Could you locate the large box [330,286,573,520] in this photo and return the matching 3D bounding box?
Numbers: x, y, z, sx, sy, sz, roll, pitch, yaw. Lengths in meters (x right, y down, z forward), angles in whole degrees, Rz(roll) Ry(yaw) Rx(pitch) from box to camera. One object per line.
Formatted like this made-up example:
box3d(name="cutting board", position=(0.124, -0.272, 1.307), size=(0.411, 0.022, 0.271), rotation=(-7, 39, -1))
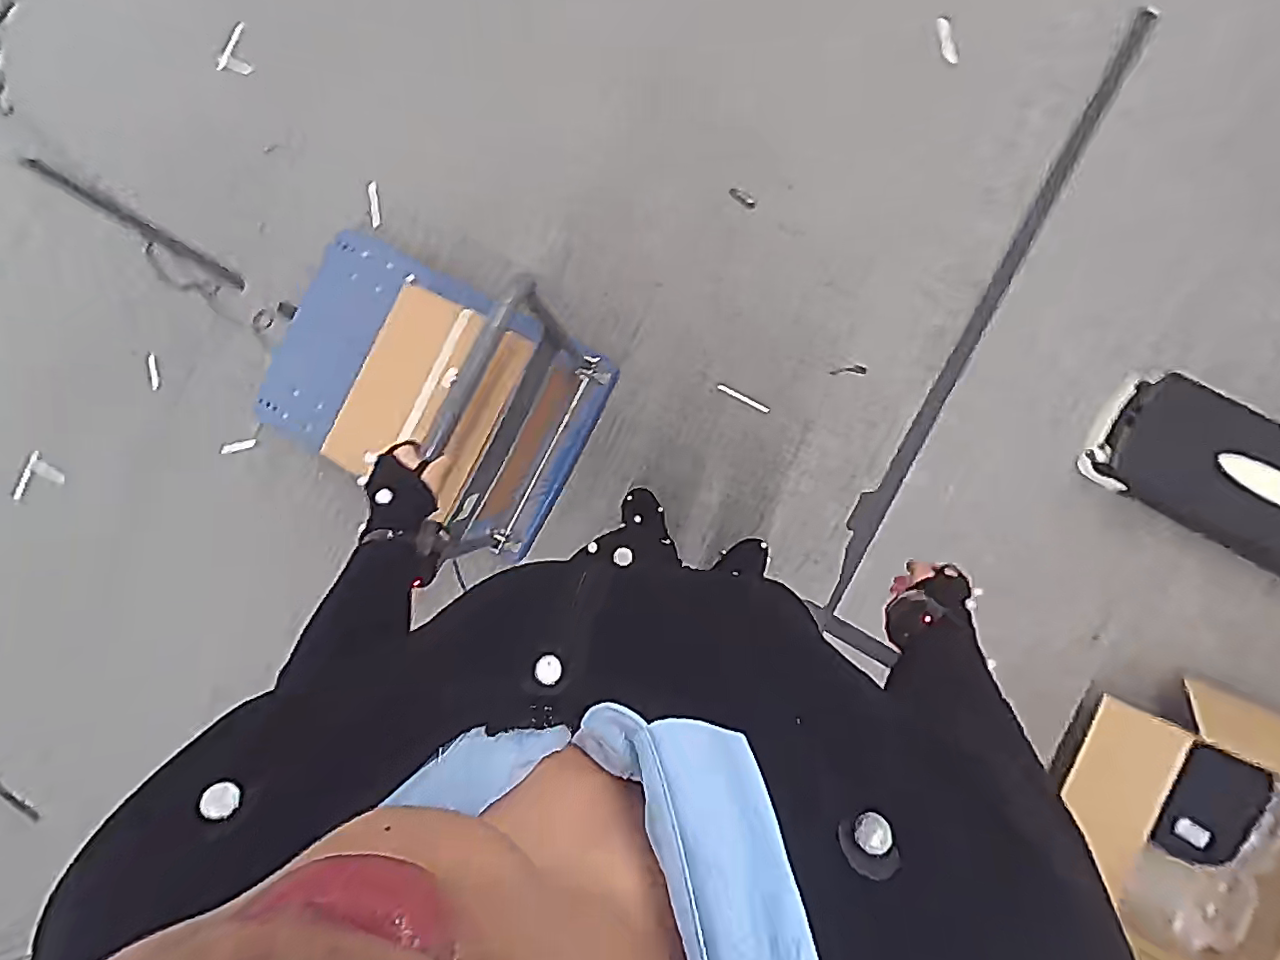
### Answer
box3d(name="large box", position=(-0.407, -0.151, 1.248), size=(0.320, 0.320, 0.408), rotation=(28, 91, 7))
